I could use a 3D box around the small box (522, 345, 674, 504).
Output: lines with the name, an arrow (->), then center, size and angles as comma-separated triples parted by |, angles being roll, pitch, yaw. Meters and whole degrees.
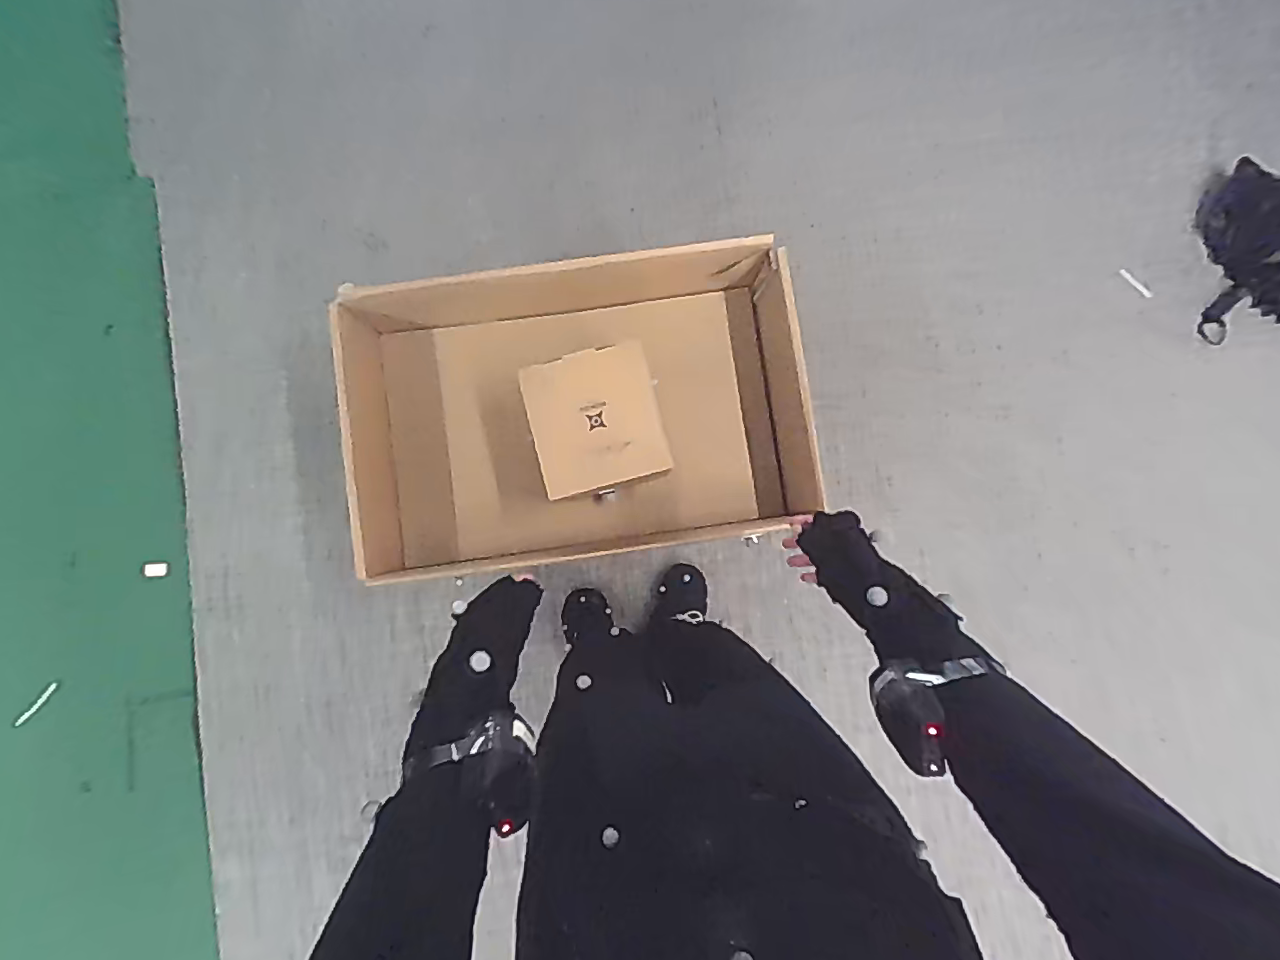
small box -> -0.056, -0.068, 0.771 | 0.168, 0.176, 0.179 | -15, 87, -1
